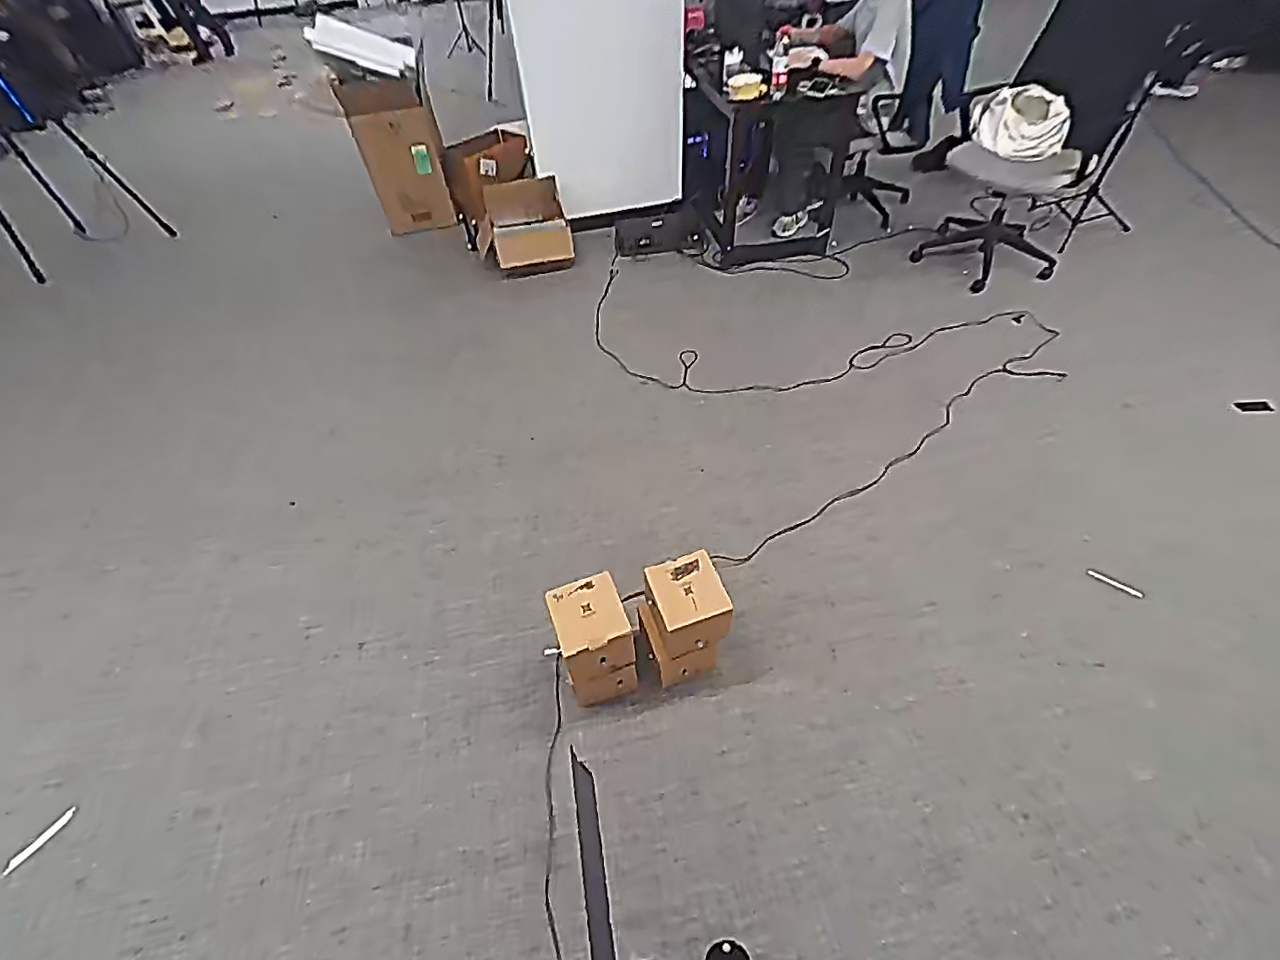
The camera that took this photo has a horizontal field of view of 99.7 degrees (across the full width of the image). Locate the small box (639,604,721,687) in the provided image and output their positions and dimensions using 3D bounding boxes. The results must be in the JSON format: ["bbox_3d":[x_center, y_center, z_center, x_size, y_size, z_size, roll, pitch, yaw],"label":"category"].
[{"bbox_3d":[0.104,0.430,1.465,0.168,0.176,0.179,-18,51,-10],"label":"small box"}]

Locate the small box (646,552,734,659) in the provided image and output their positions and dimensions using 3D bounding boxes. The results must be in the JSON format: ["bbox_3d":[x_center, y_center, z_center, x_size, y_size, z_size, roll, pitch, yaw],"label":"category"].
[{"bbox_3d":[0.119,0.314,1.346,0.168,0.176,0.179,-17,52,-10],"label":"small box"}]

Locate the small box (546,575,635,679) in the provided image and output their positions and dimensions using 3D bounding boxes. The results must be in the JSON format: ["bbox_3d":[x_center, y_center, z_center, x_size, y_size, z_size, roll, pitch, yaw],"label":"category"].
[{"bbox_3d":[-0.117,0.366,1.320,0.168,0.176,0.179,-17,52,-11],"label":"small box"}]

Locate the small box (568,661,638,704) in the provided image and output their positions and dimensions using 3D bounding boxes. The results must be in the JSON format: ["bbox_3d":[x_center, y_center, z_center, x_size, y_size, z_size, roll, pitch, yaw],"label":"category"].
[{"bbox_3d":[-0.107,0.476,1.442,0.168,0.176,0.179,-14,50,-9],"label":"small box"}]
